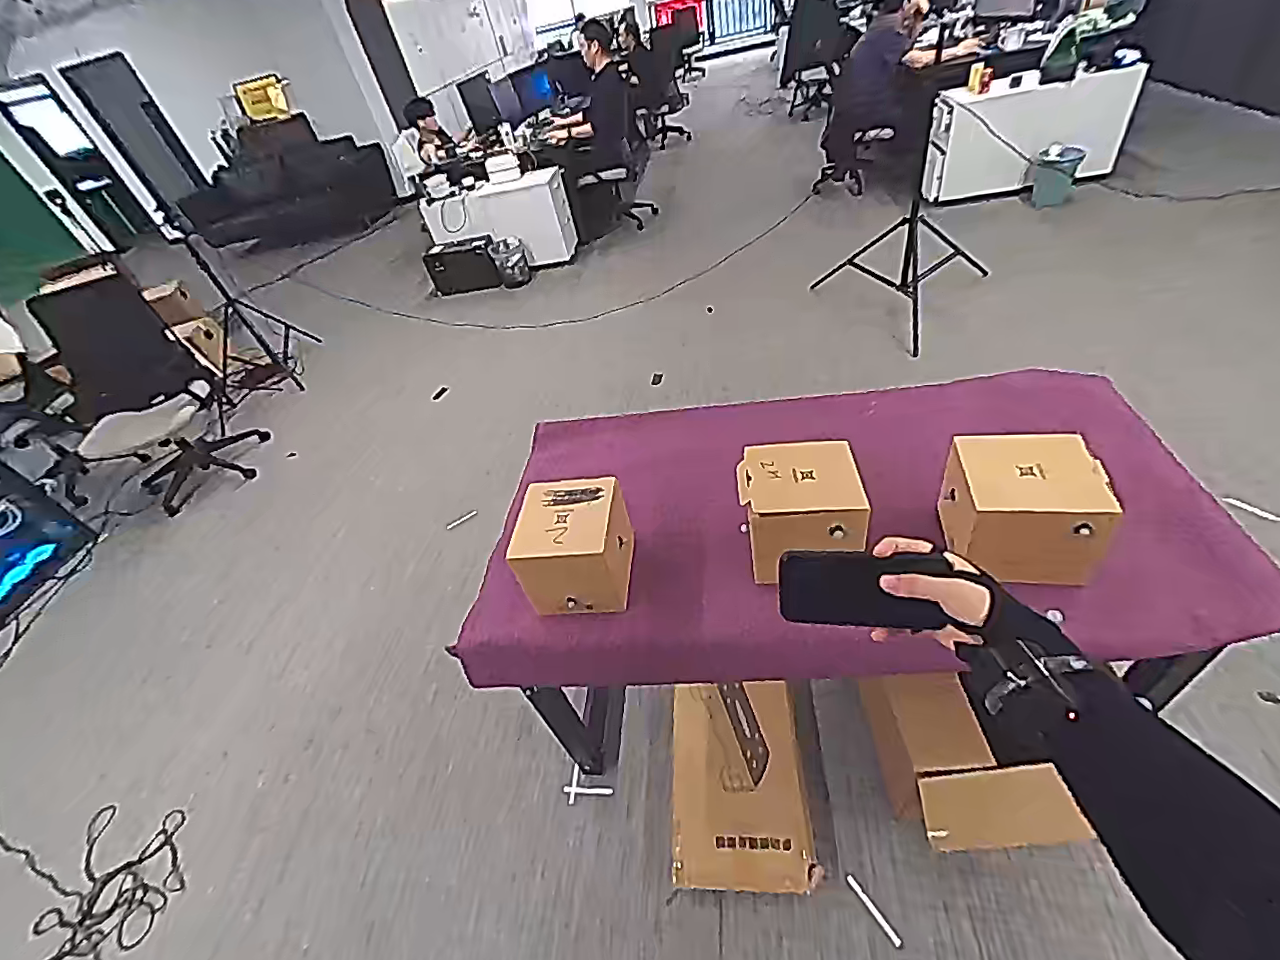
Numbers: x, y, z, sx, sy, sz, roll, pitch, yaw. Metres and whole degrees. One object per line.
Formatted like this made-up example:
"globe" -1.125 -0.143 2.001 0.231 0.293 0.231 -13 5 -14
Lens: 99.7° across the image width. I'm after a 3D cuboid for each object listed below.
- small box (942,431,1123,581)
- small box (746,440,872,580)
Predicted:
"small box" 0.585 0.042 0.840 0.179 0.176 0.168 0 44 15
"small box" 0.275 0.053 0.914 0.179 0.176 0.168 -6 40 10
